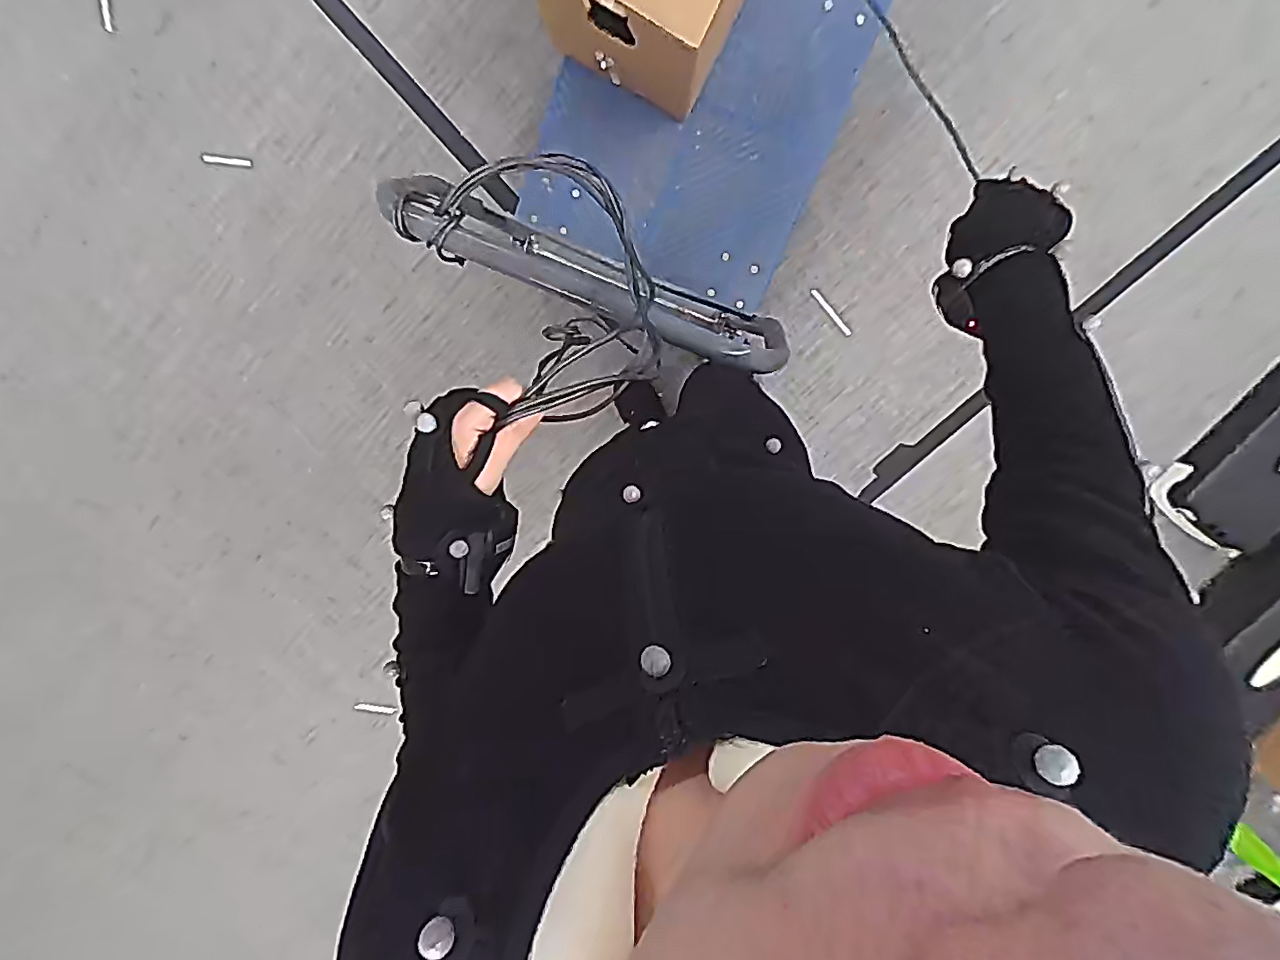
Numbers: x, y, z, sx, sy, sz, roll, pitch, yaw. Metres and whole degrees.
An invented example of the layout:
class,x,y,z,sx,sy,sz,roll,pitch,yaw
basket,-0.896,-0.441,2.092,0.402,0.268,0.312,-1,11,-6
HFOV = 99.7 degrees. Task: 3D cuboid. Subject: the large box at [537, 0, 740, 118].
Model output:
class,x,y,z,sx,sy,sz,roll,pitch,yaw
large box,0.041,-0.938,0.913,0.320,0.320,0.408,26,104,-7
